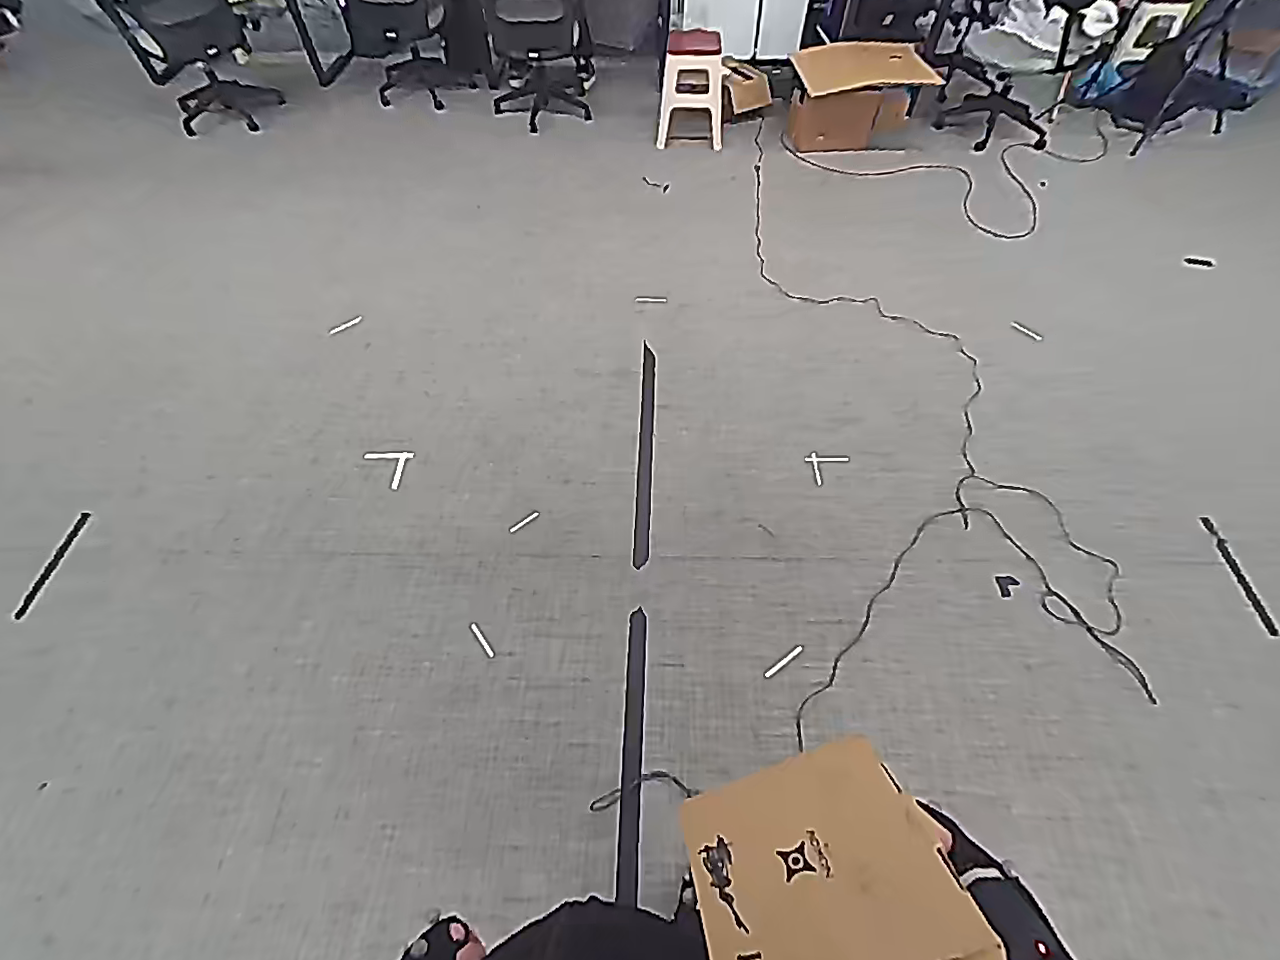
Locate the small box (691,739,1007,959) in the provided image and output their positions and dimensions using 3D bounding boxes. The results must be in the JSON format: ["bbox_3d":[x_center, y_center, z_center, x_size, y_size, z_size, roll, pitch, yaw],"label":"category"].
[{"bbox_3d":[0.160,0.356,0.434,0.179,0.176,0.168,-21,19,1],"label":"small box"}]
